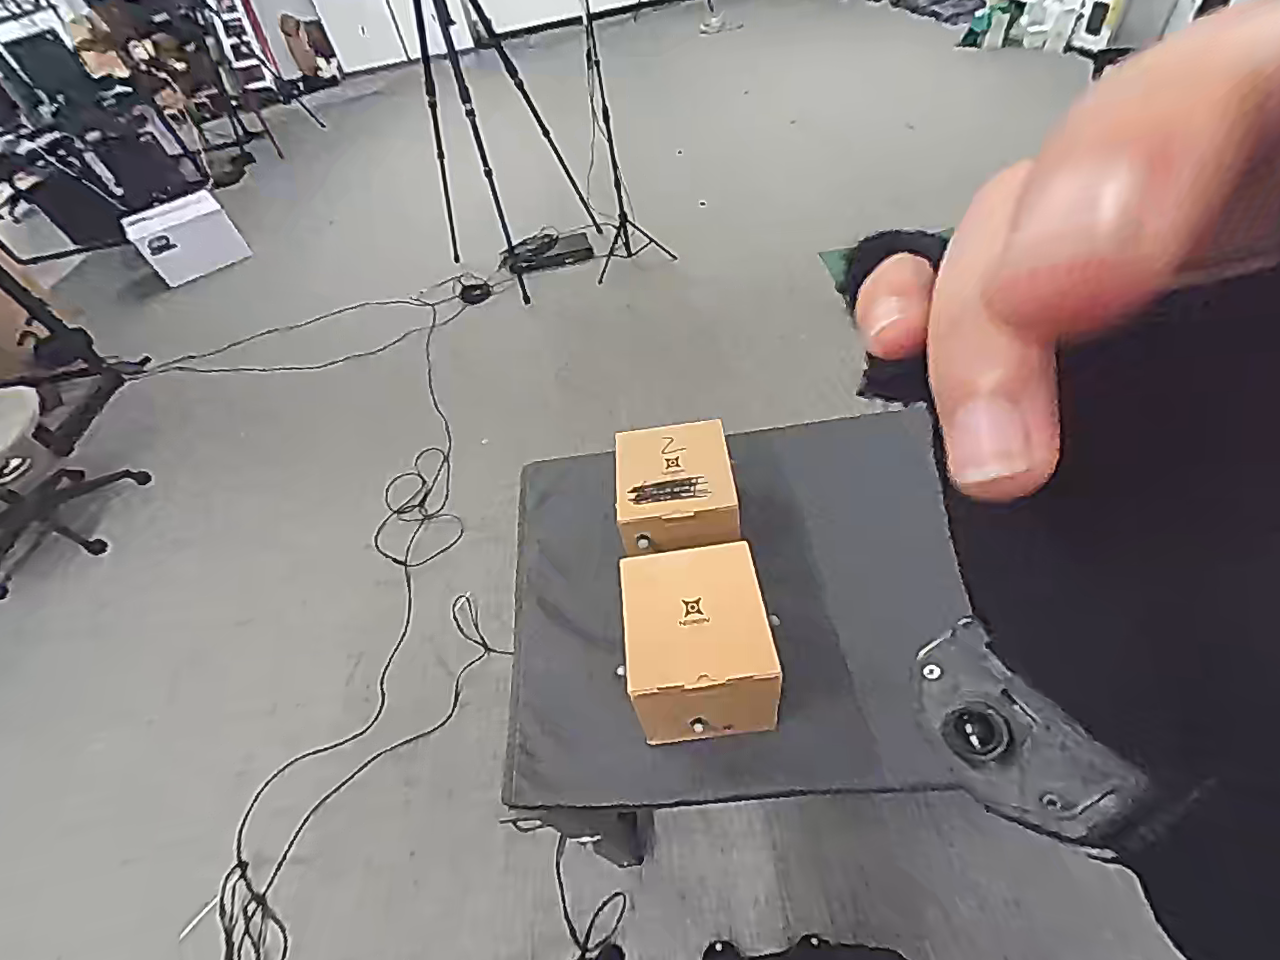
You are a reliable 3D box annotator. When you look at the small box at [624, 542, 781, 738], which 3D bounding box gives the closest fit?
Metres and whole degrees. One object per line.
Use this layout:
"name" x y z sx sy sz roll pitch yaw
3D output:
"small box" 0.074 0.206 0.692 0.168 0.176 0.179 -9 47 2
